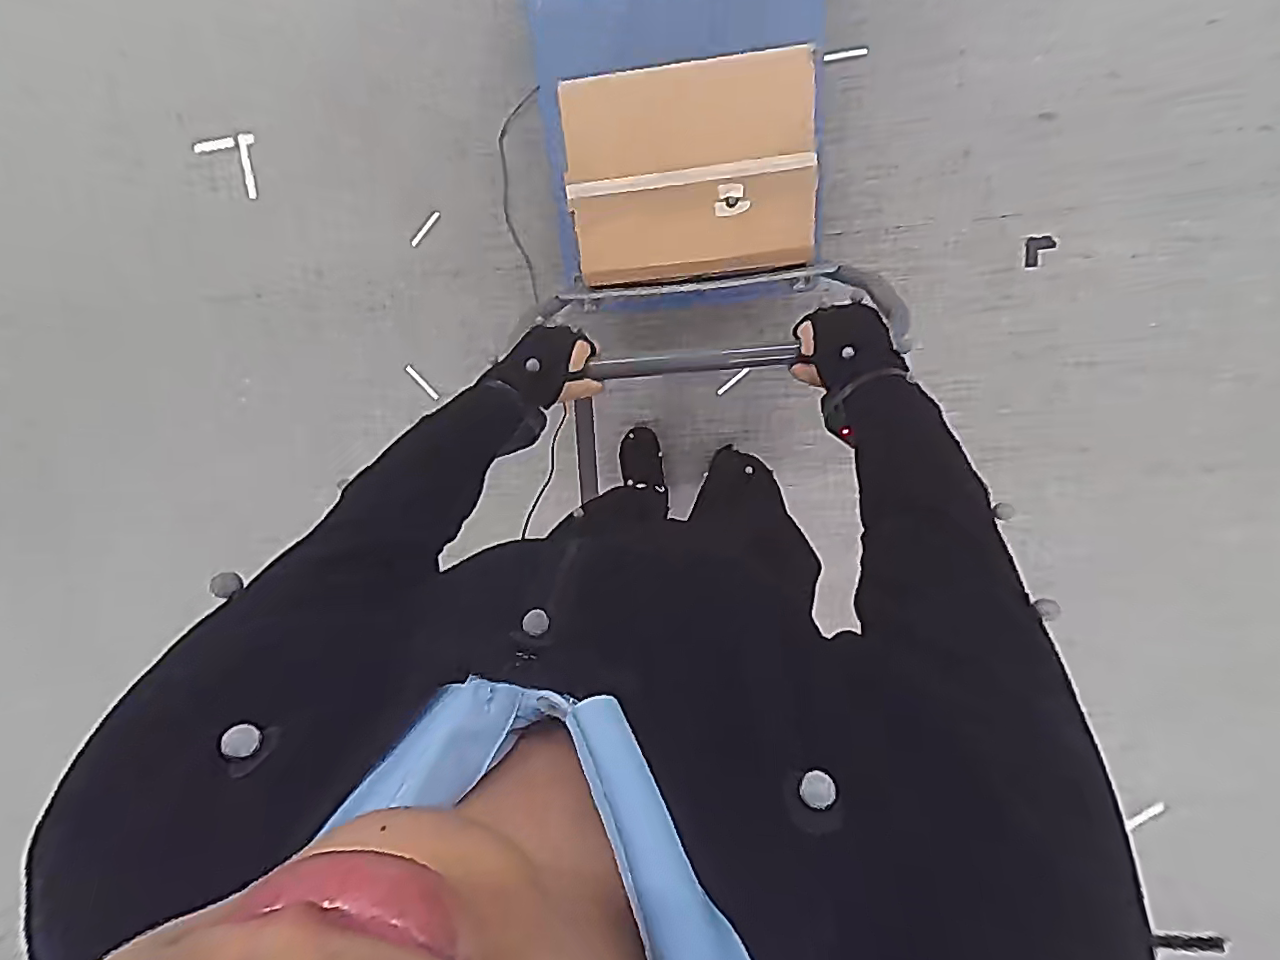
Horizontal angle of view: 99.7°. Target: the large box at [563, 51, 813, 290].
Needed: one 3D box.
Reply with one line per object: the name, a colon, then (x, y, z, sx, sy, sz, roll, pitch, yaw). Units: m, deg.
large box: (0.095, -0.560, 1.051, 0.408, 0.320, 0.320, -5, 111, 6)
